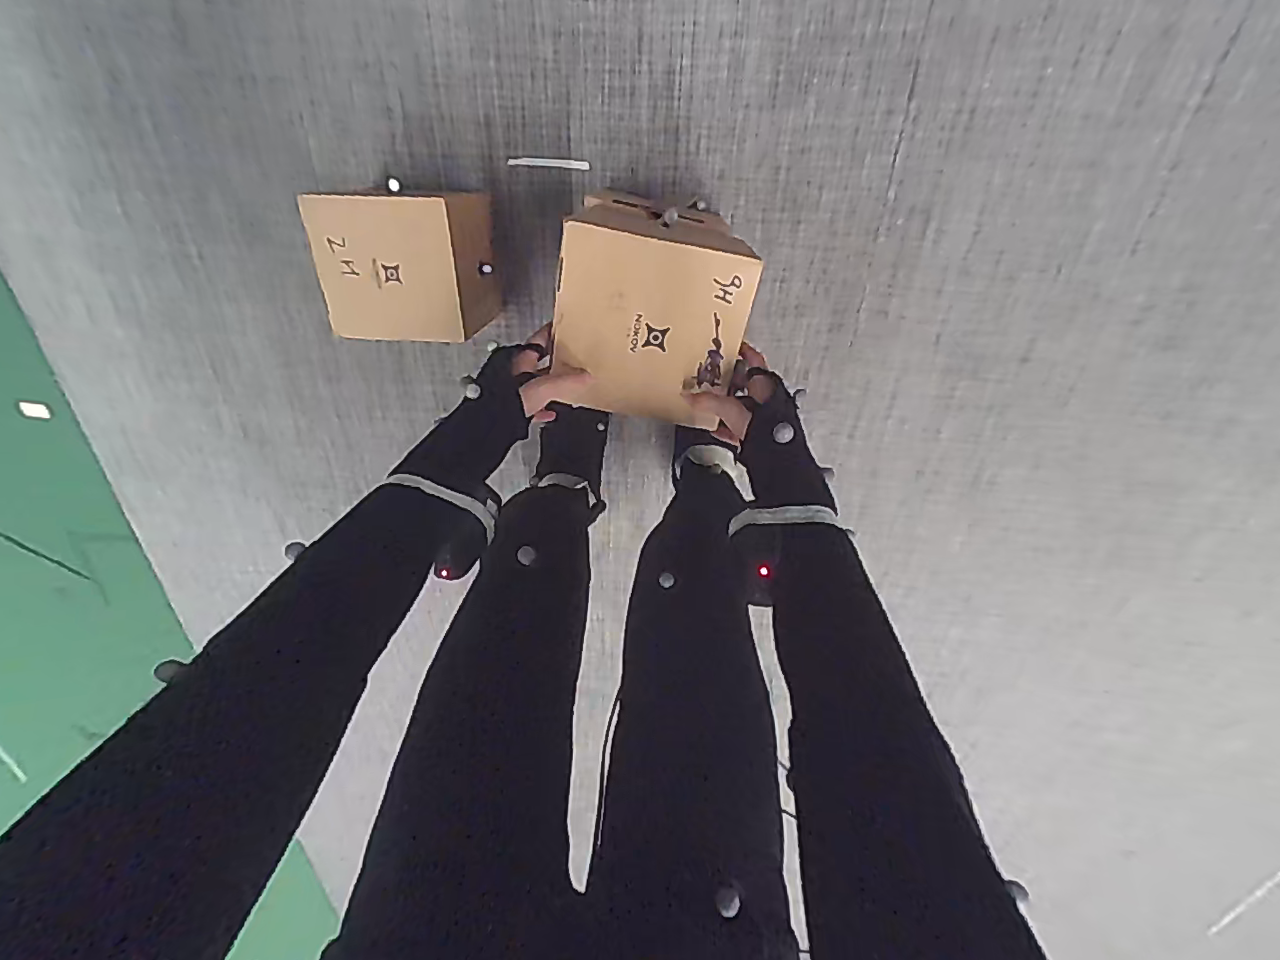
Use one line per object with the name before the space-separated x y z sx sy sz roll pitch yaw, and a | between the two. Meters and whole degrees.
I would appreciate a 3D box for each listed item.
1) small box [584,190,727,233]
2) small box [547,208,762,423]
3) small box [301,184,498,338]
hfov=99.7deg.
small box | 0.007 -0.271 0.714 0.168 0.176 0.179 12 121 -2
small box | 0.011 -0.182 0.573 0.179 0.176 0.168 11 120 -3
small box | -0.298 -0.297 0.722 0.179 0.176 0.168 3 120 3
